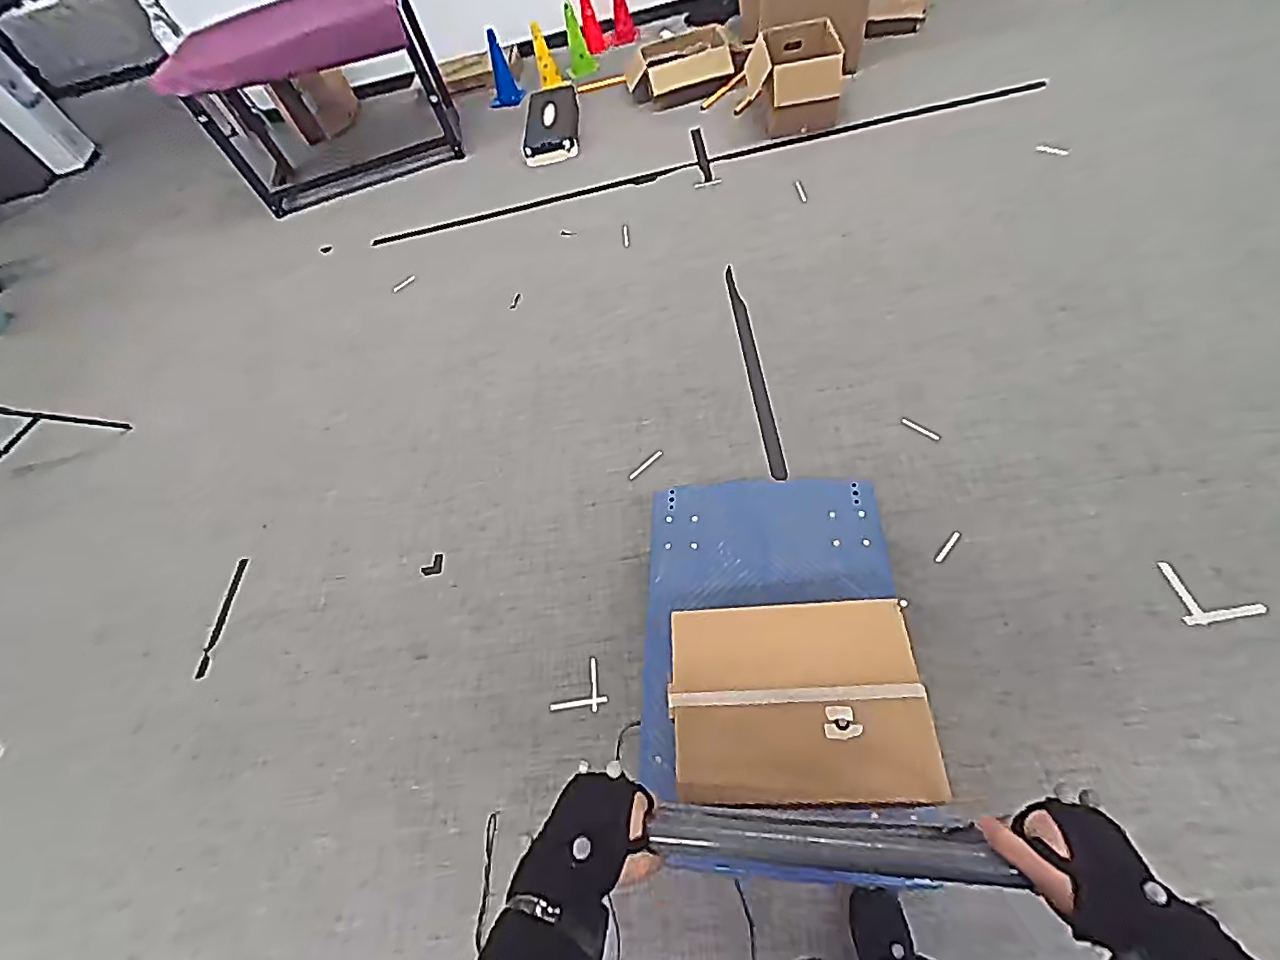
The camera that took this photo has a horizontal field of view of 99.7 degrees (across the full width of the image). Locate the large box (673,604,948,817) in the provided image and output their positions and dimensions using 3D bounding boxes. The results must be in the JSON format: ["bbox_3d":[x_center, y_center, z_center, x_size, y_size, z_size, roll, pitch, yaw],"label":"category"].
[{"bbox_3d":[0.282,0.448,1.024,0.408,0.320,0.320,-5,57,8],"label":"large box"}]
